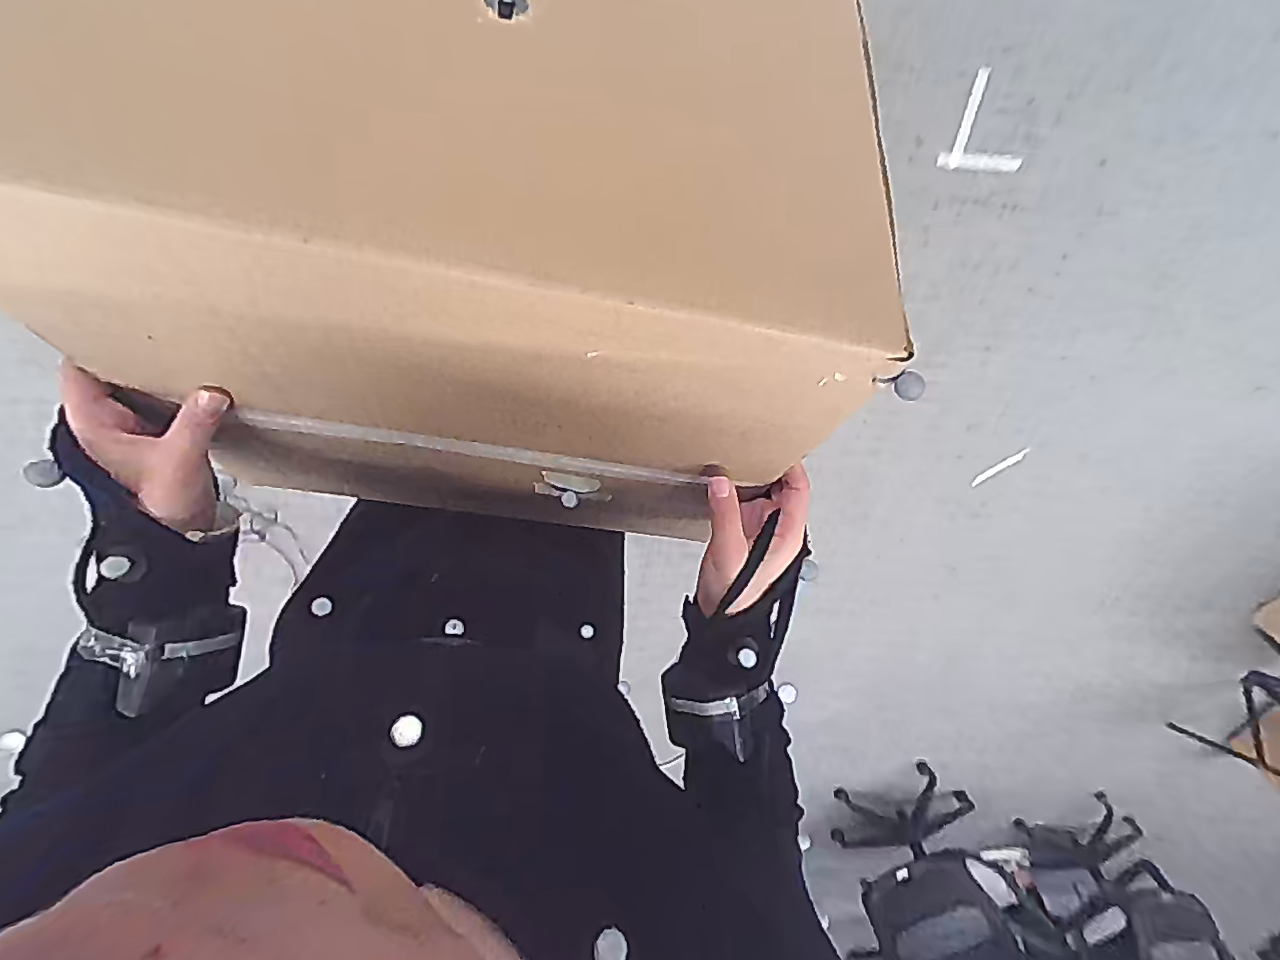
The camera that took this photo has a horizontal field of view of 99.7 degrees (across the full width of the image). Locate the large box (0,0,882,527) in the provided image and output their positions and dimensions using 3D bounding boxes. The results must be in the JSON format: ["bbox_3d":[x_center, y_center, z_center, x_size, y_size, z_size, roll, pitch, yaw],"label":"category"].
[{"bbox_3d":[-0.109,-0.170,0.397,0.408,0.320,0.320,6,159,-8],"label":"large box"}]
